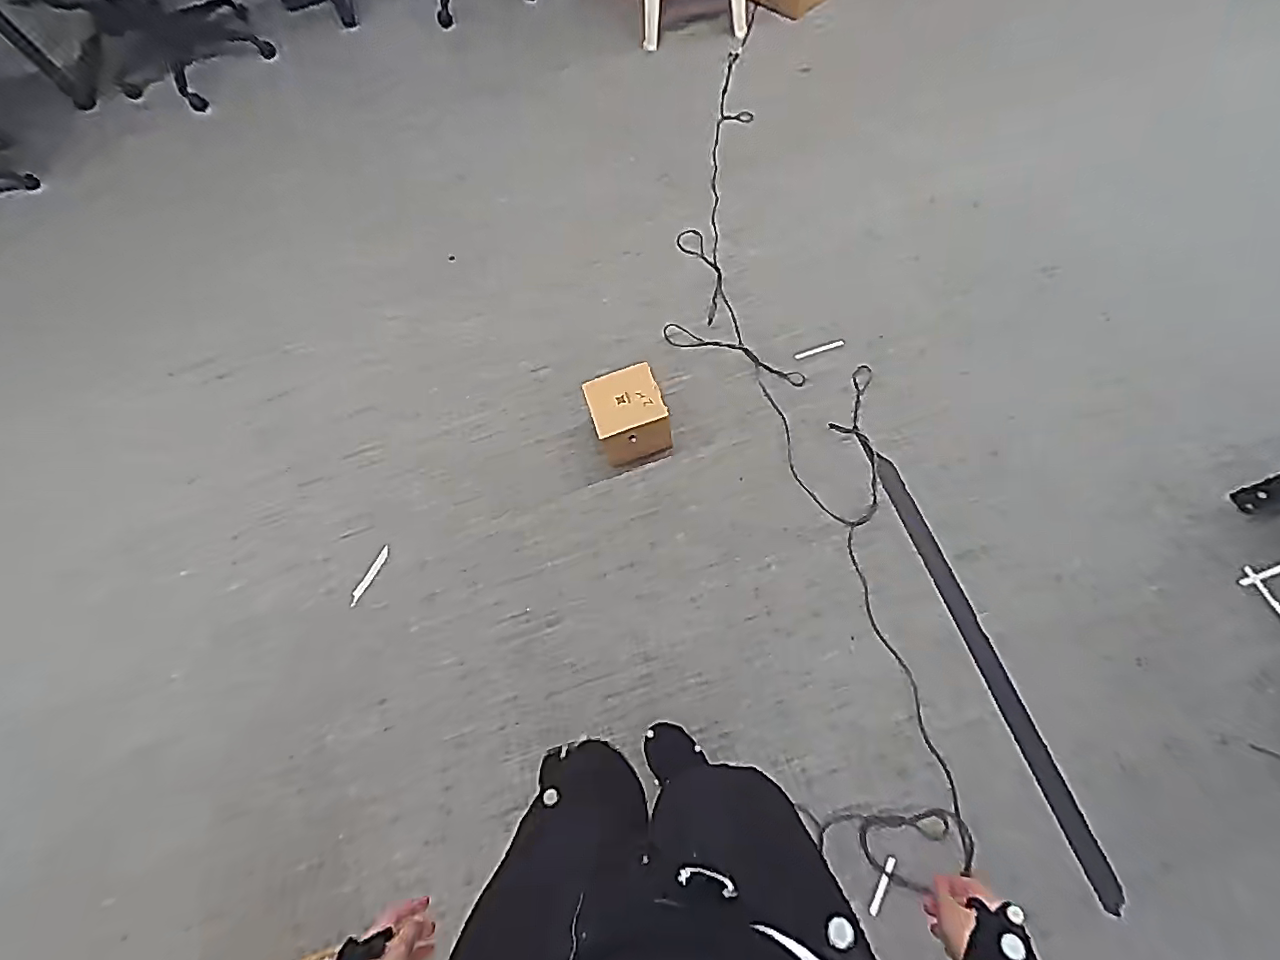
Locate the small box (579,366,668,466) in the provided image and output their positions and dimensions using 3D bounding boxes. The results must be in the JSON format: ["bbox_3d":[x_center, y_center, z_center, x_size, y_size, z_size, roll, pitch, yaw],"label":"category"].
[{"bbox_3d":[-0.036,-0.155,1.377,0.179,0.176,0.168,-19,68,-1],"label":"small box"}]
